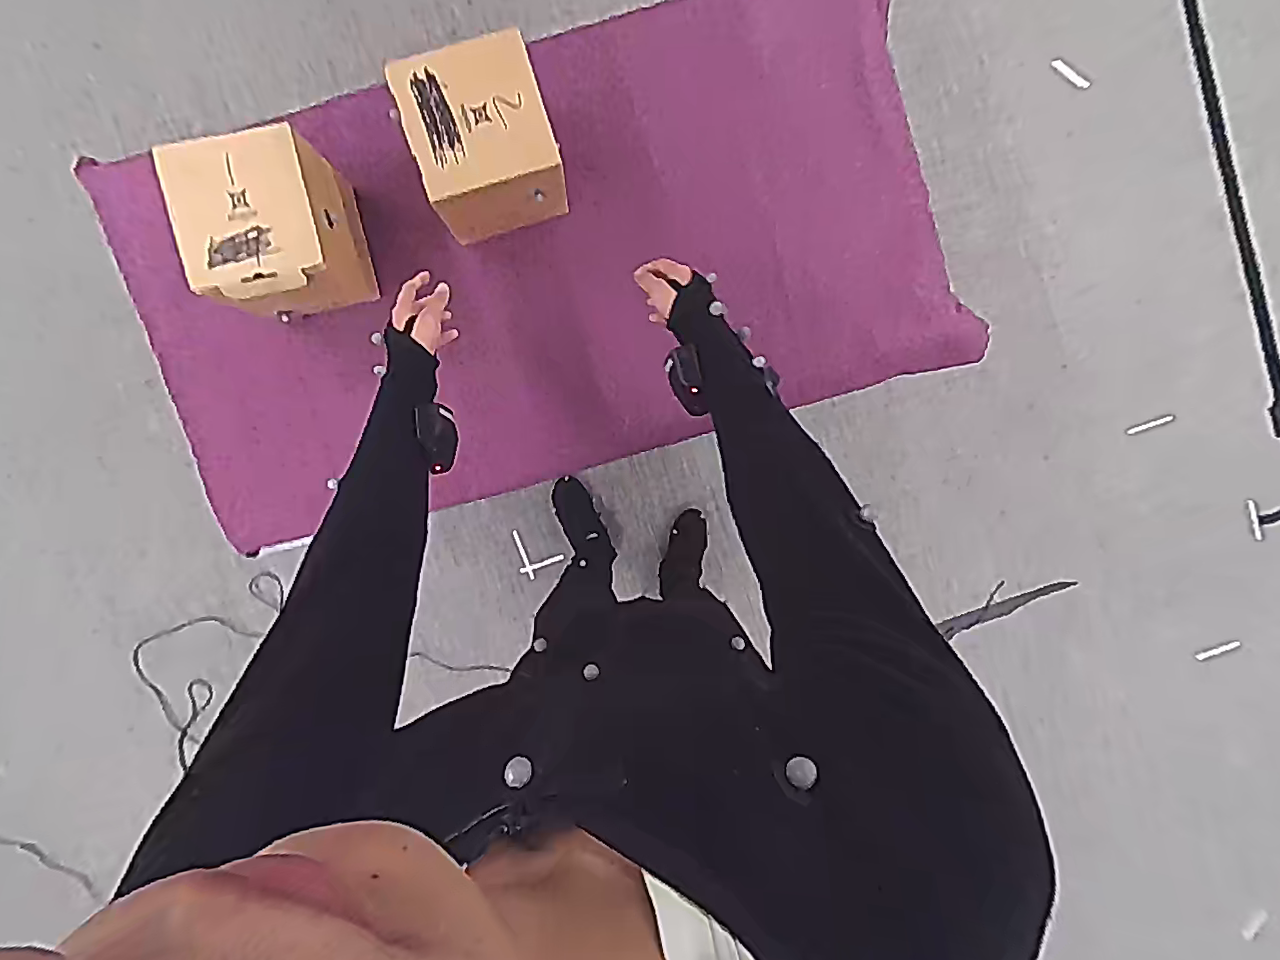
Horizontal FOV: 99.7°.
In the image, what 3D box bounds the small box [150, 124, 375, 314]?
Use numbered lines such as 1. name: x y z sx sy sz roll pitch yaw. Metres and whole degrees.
1. small box: -0.487 -0.333 0.730 0.168 0.176 0.179 -13 96 -3
